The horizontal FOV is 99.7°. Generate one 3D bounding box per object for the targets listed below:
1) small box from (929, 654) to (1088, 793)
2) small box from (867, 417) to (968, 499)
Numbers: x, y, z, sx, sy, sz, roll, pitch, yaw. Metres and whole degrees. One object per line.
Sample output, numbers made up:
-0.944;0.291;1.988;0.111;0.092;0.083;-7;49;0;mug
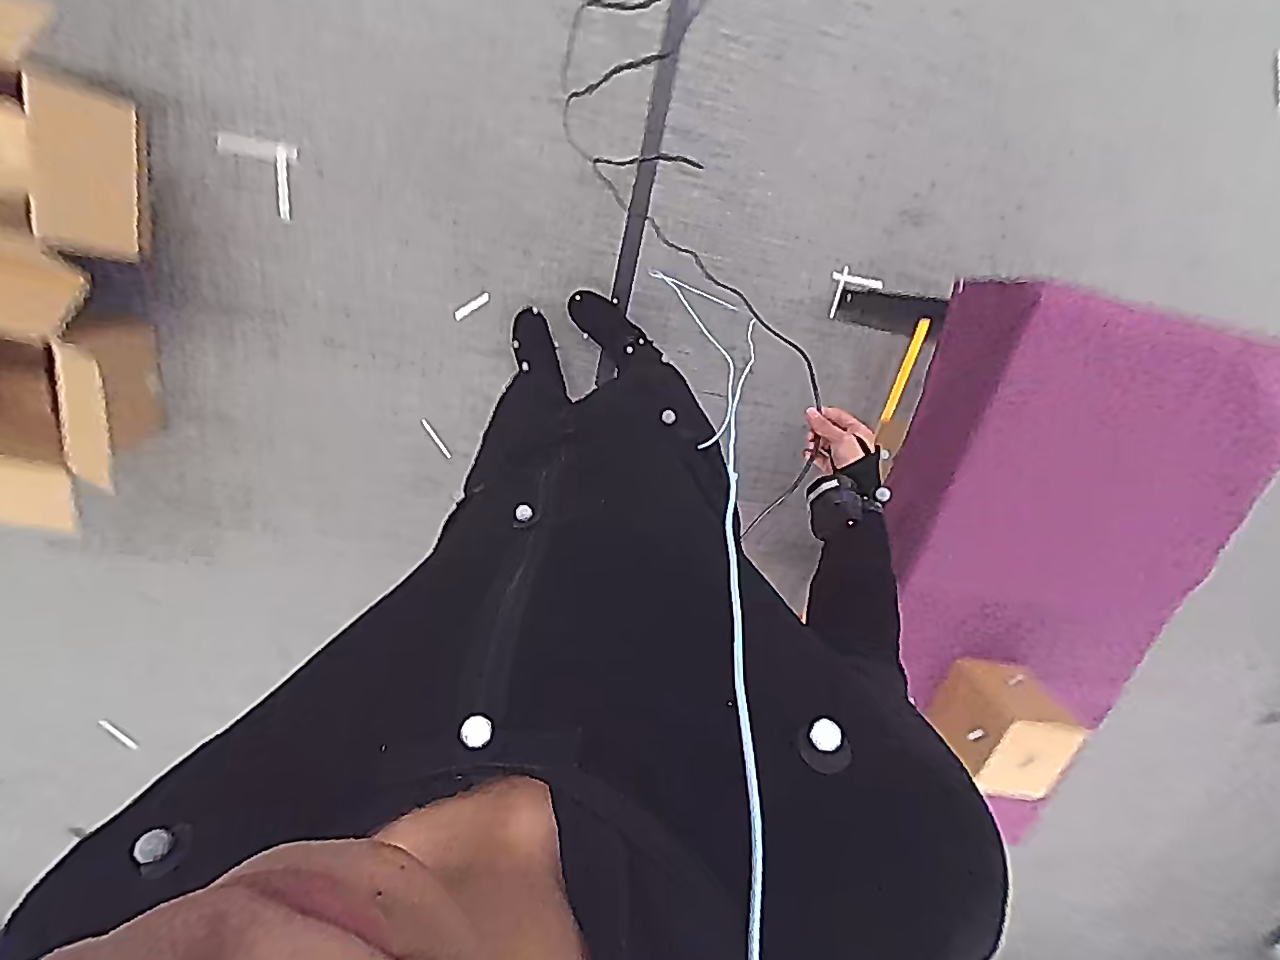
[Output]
0.716;0.481;1.078;0.168;0.176;0.179;12;110;-10;small box
0.772;-0.067;1.526;0.168;0.176;0.179;6;113;-9;small box
